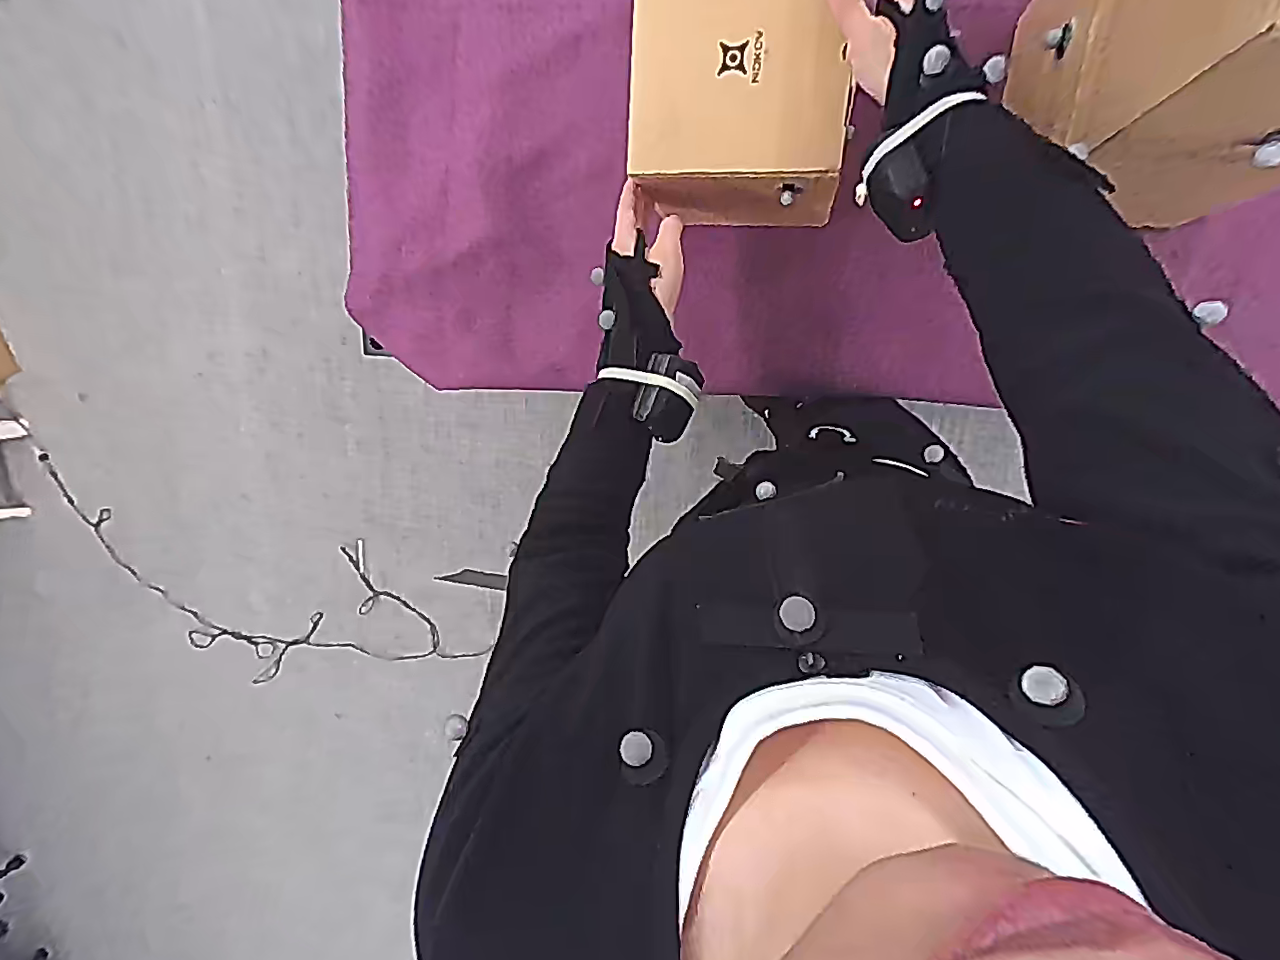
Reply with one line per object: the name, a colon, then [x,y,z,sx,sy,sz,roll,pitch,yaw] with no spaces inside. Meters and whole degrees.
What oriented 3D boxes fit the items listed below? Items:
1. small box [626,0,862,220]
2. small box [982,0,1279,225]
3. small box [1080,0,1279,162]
small box: [0.096,-0.347,0.495,0.179,0.176,0.168,6,103,12]
small box: [0.400,-0.318,0.425,0.168,0.176,0.179,8,104,13]
small box: [0.367,-0.284,0.267,0.168,0.176,0.179,8,103,13]
